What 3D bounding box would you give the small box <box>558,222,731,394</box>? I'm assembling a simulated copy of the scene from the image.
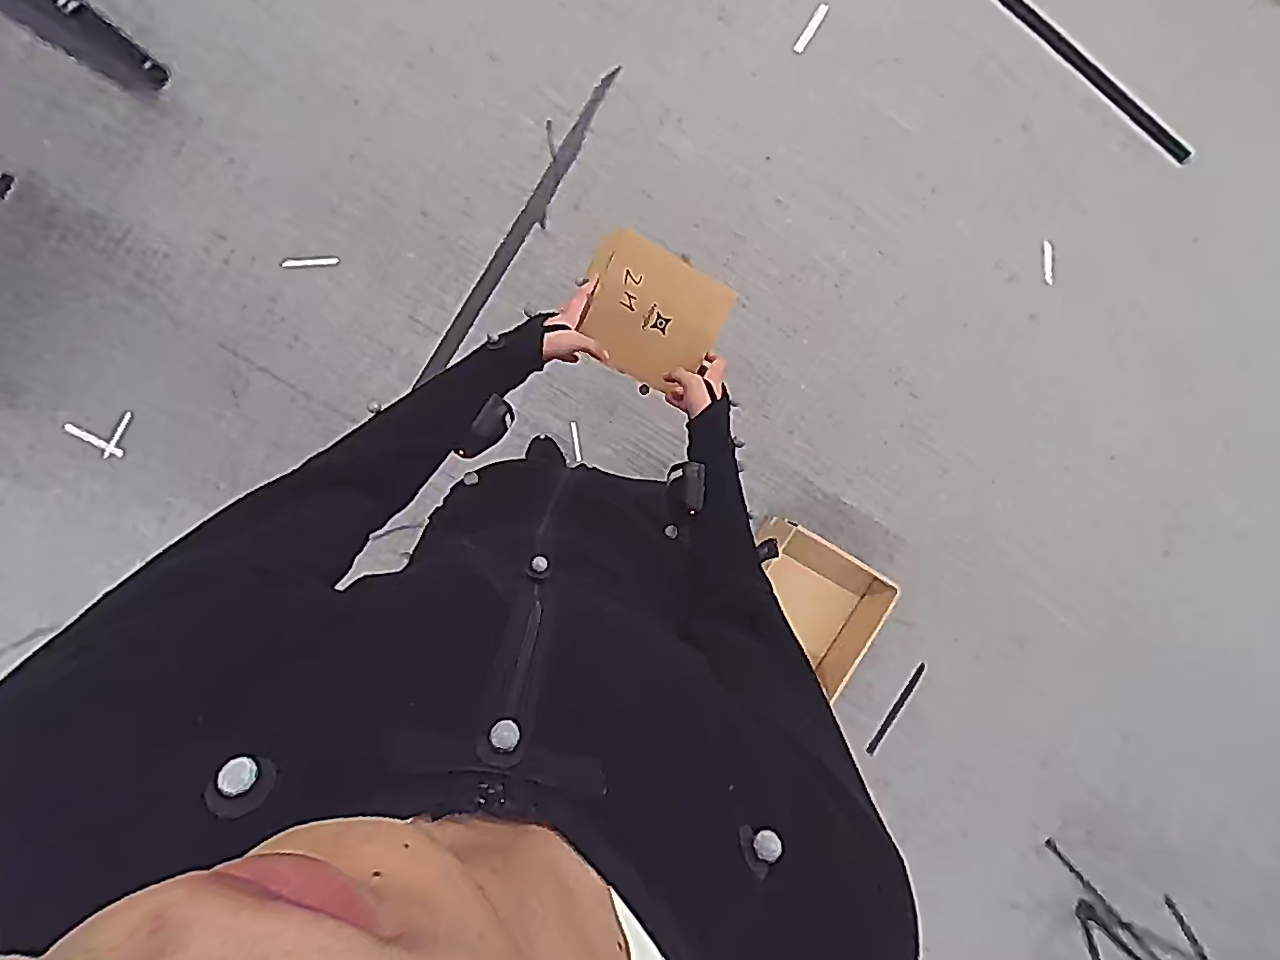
[{"bbox_3d":[-0.005,-0.248,0.779,0.179,0.176,0.168,21,105,-20],"label":"small box"}]
